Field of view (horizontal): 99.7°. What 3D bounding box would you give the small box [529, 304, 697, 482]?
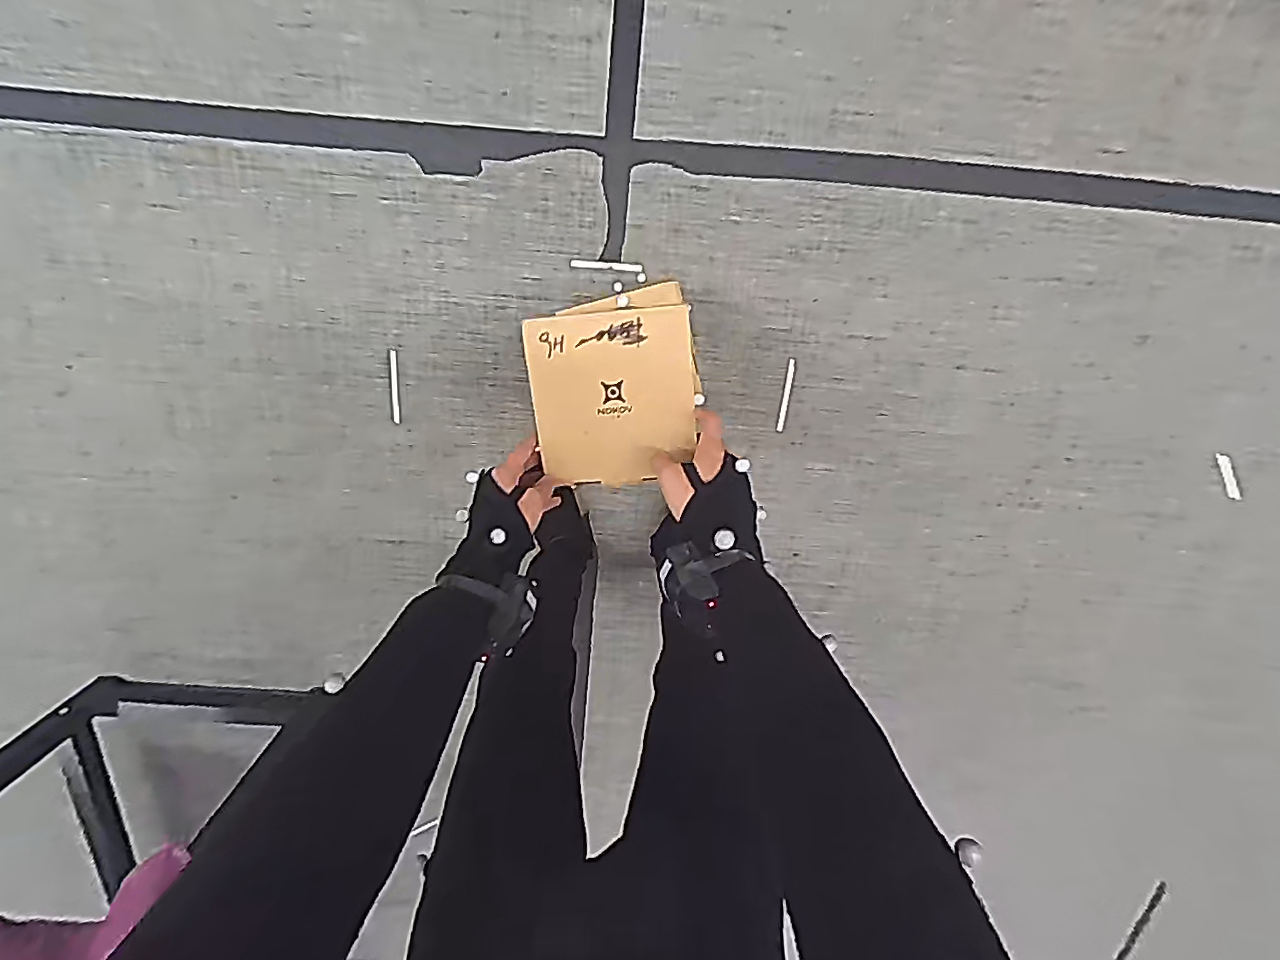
[{"bbox_3d":[-0.019,-0.109,0.631,0.168,0.176,0.179,-3,108,4],"label":"small box"}]
